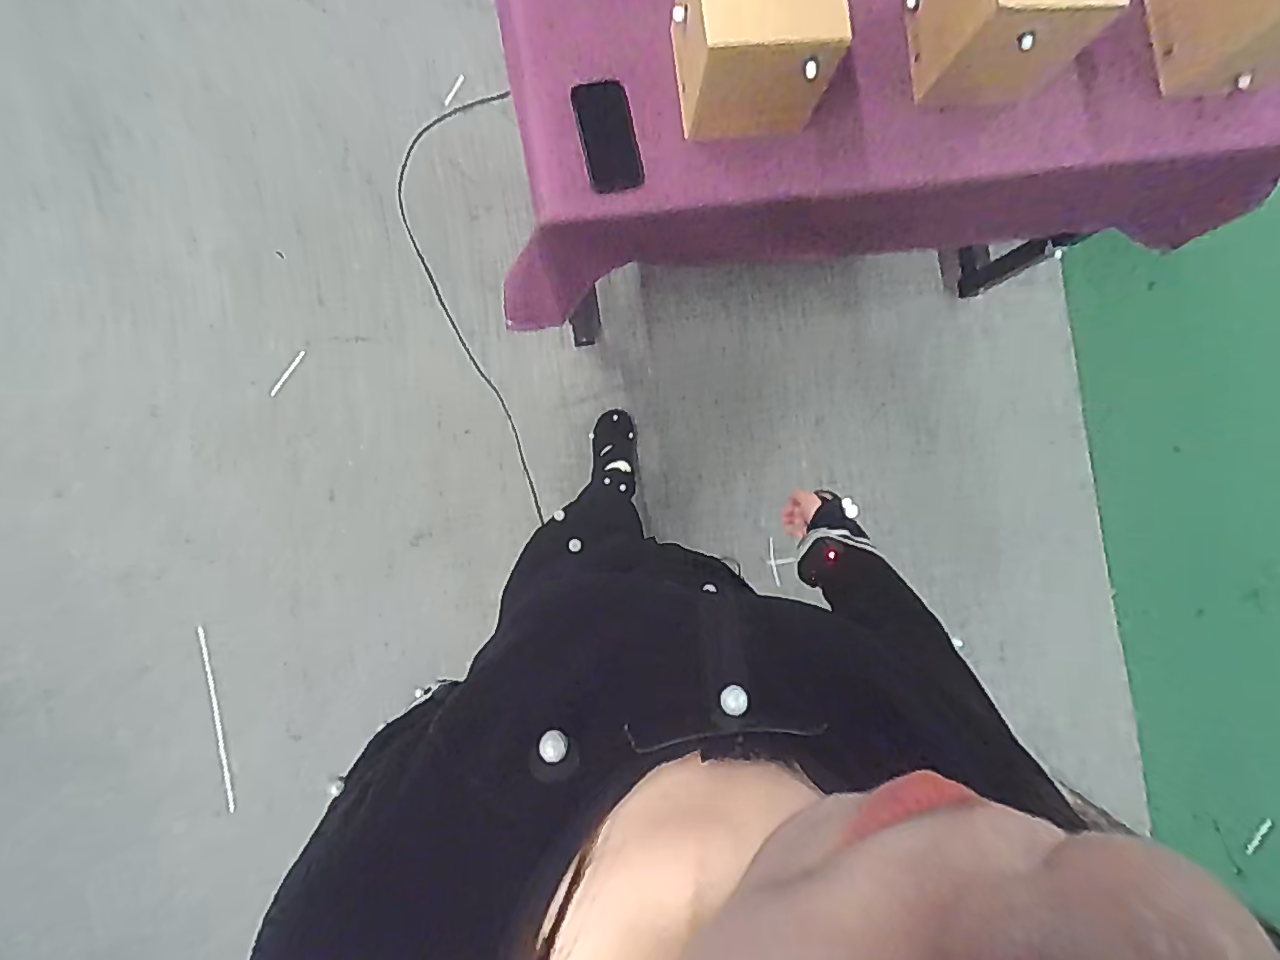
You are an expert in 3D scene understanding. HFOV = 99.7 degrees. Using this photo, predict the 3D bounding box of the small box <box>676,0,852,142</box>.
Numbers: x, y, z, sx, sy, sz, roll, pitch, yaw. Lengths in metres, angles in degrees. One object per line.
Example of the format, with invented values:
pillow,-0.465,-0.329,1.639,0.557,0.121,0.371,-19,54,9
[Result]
small box,0.146,-0.573,0.705,0.179,0.176,0.168,-7,89,-6

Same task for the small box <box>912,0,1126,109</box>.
small box,0.492,-0.638,0.732,0.179,0.176,0.168,-5,89,-5

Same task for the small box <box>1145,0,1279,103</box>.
small box,0.880,-0.673,0.761,0.179,0.176,0.168,-9,89,-5
